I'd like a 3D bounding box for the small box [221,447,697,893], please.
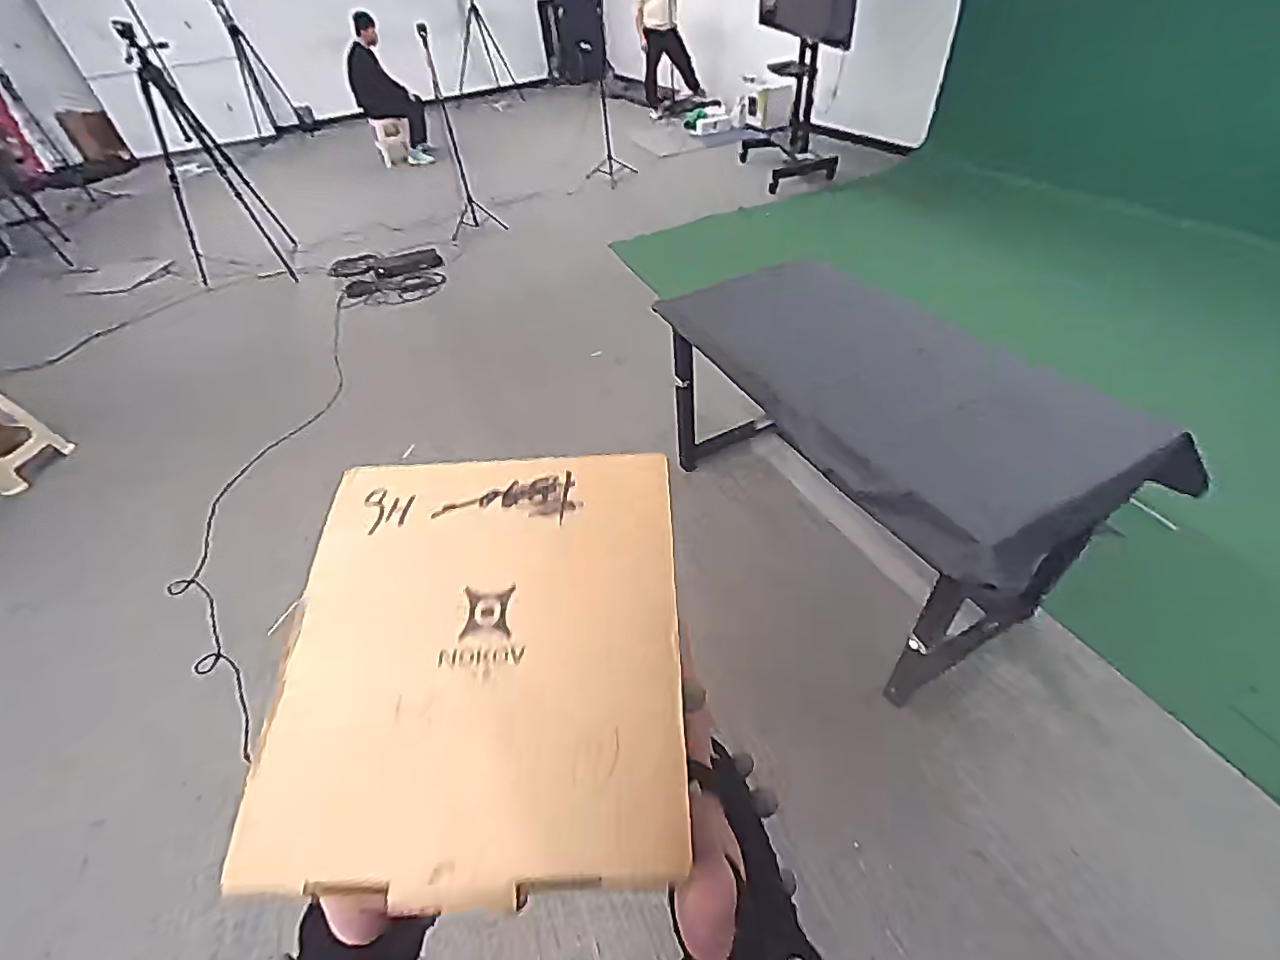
[{"bbox_3d":[-0.060,0.102,0.291,0.168,0.176,0.179,-1,58,0],"label":"small box"}]
